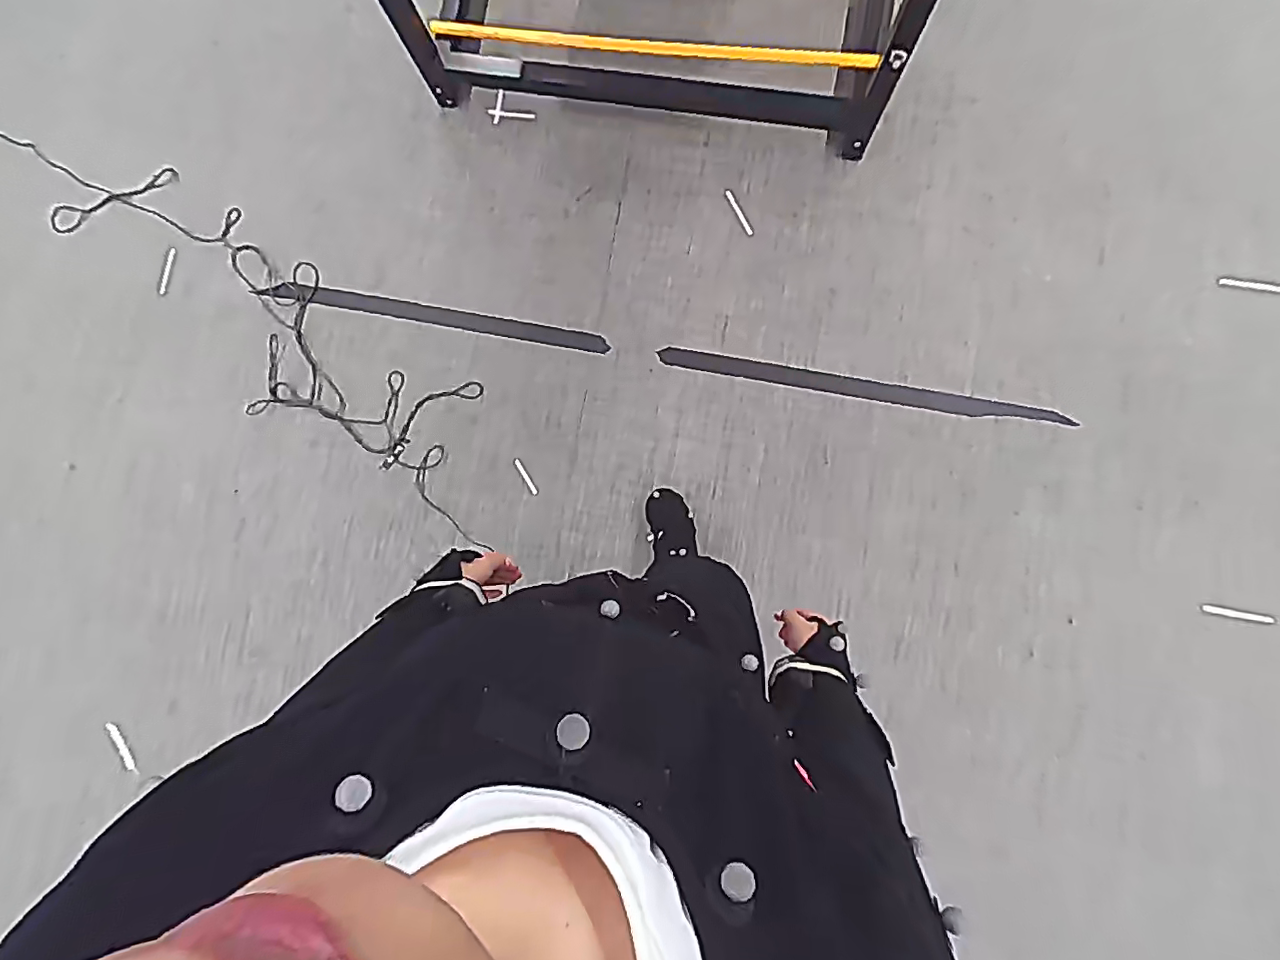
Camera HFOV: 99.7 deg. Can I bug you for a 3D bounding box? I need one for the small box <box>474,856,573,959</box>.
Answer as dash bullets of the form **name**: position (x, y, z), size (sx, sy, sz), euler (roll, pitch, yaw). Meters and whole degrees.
- **small box**: position (-0.270, 1.031, 1.280), size (0.179, 0.176, 0.168), euler (9, 86, 4)
